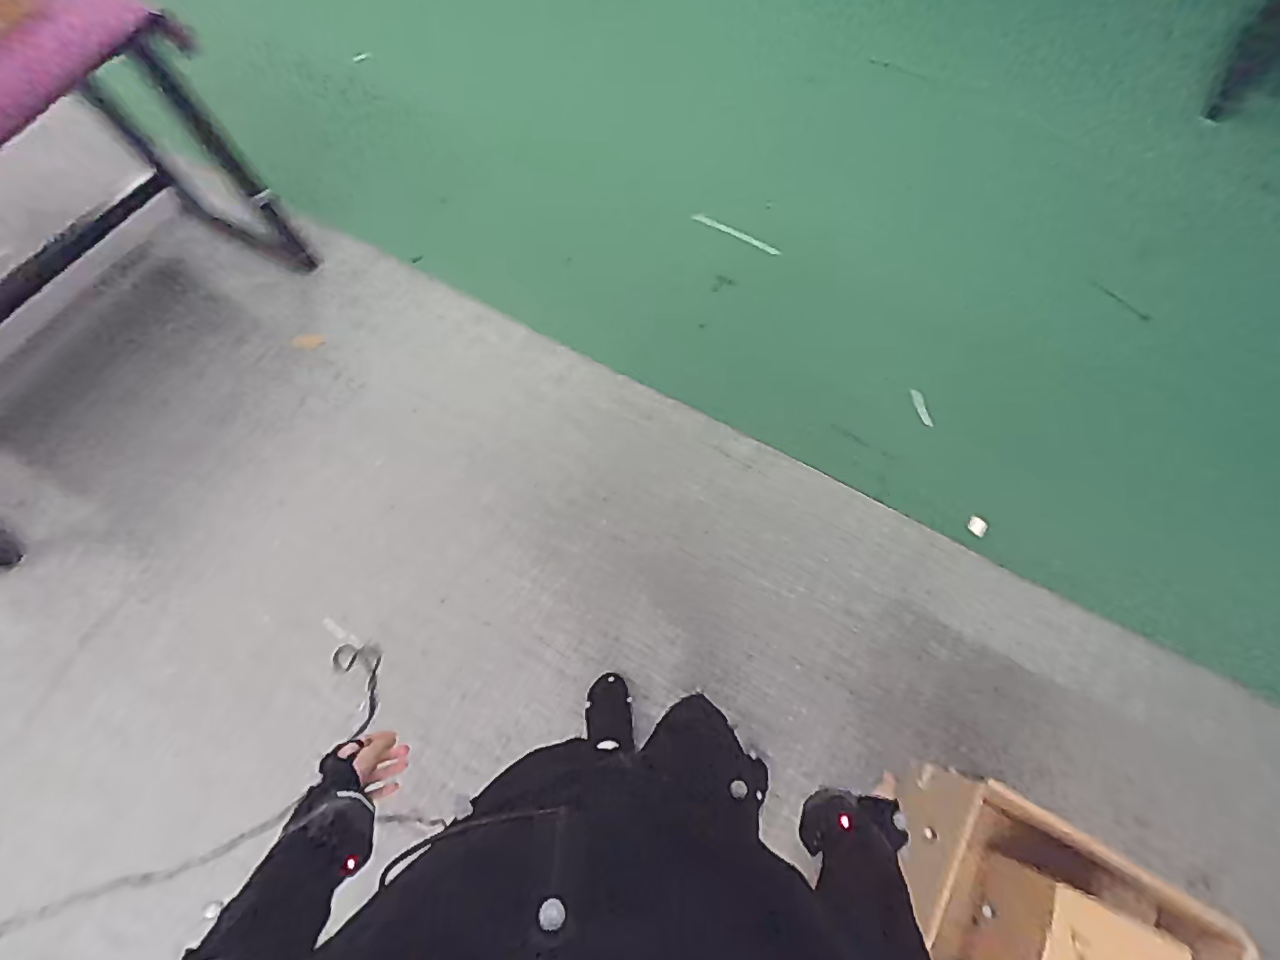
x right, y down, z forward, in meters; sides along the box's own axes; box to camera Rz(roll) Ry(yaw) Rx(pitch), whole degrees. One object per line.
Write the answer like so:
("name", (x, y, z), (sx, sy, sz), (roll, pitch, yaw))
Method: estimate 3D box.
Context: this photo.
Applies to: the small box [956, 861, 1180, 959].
("small box", (0.590, 0.677, 0.756), (0.179, 0.176, 0.168), (26, 71, 8))
